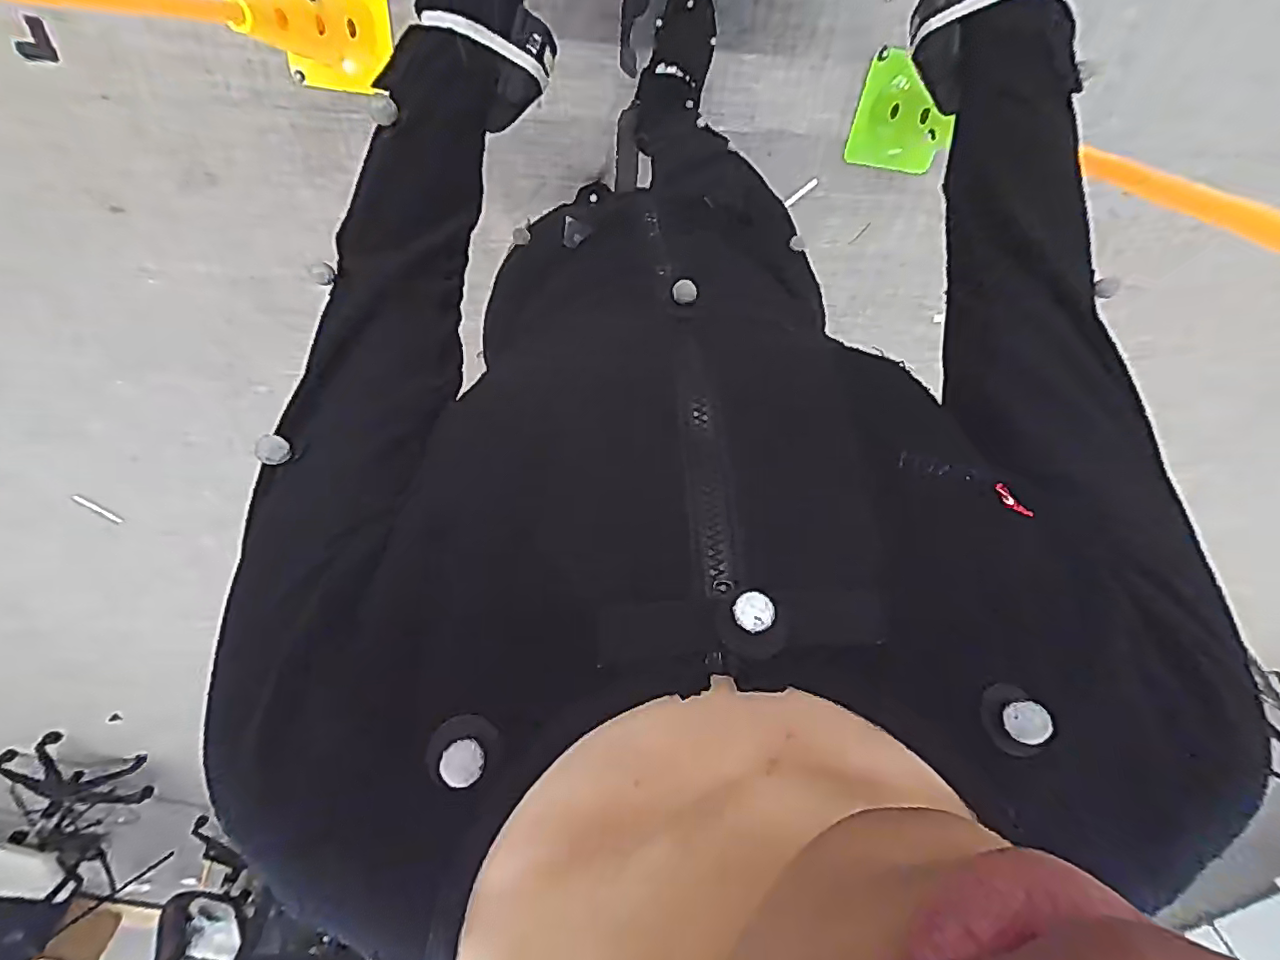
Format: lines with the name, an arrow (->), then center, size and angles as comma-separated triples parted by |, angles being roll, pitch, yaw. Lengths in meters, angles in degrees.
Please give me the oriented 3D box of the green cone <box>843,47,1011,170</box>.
green cone -> 0.559, -0.672, 1.006 | 0.202, 0.368, 0.200 | 4, 127, -7
